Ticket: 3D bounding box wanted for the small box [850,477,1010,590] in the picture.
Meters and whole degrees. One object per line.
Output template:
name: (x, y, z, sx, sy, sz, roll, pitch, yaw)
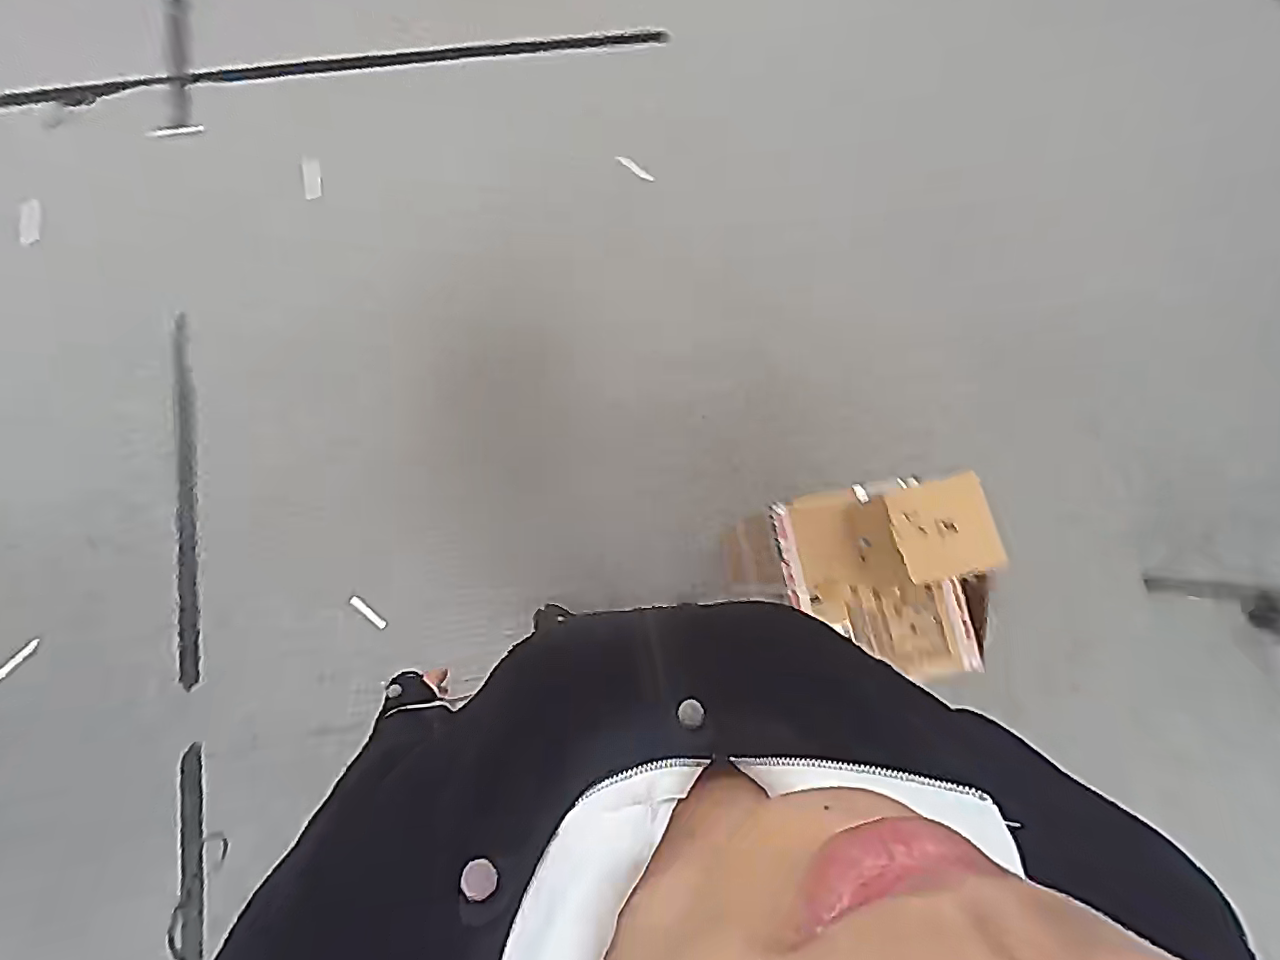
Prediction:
small box: (0.517, 0.104, 0.989, 0.179, 0.176, 0.168, -11, 77, -3)
